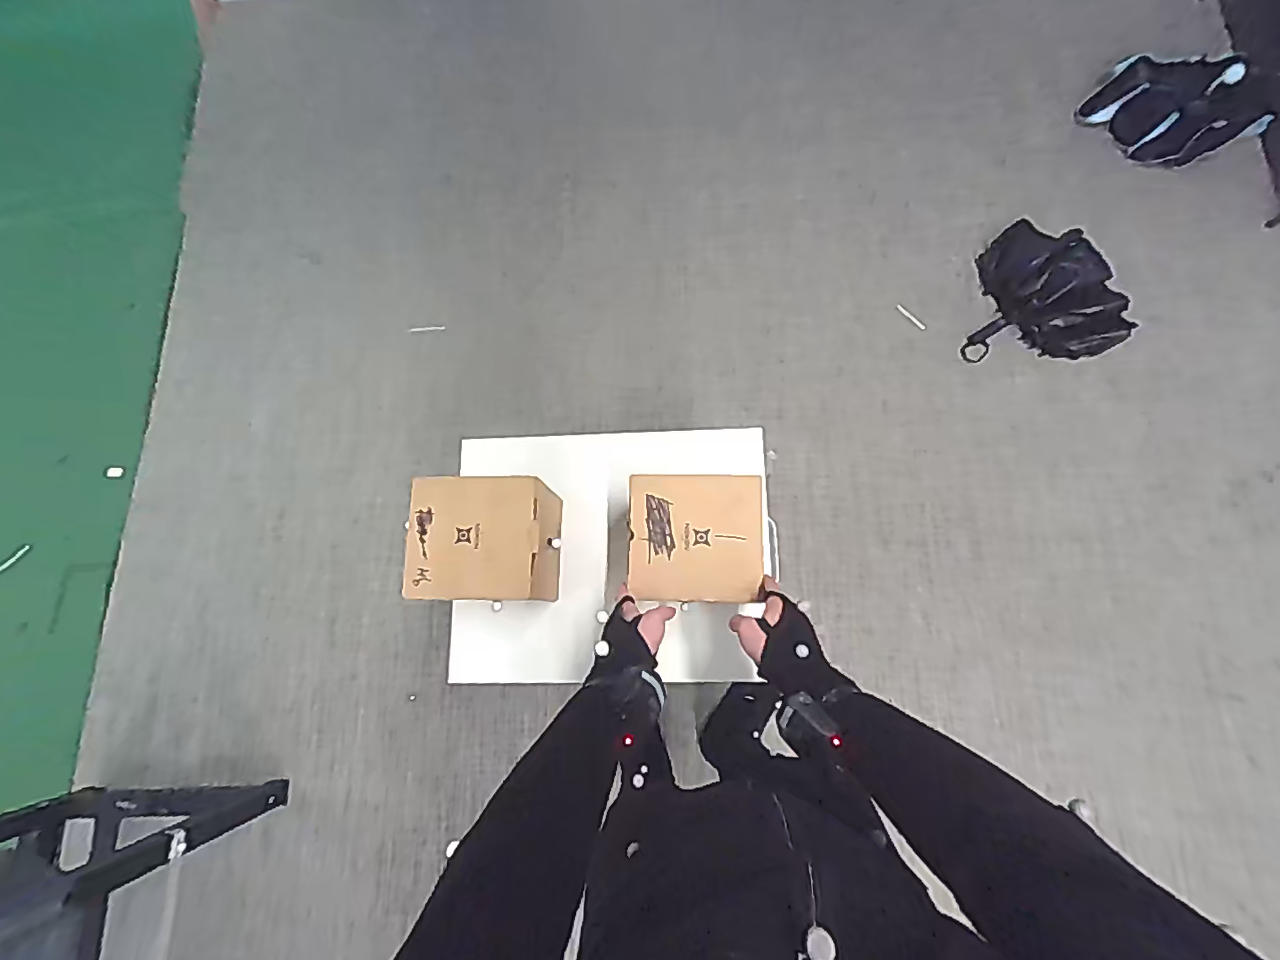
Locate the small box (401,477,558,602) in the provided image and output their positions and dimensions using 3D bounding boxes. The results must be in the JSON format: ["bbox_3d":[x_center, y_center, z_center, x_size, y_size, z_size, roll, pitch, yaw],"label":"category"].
[{"bbox_3d":[-0.220,0.092,0.792,0.179,0.176,0.168,0,77,3],"label":"small box"}]

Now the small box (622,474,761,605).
[{"bbox_3d":[0.073,0.090,0.766,0.179,0.176,0.168,0,78,5],"label":"small box"}]
